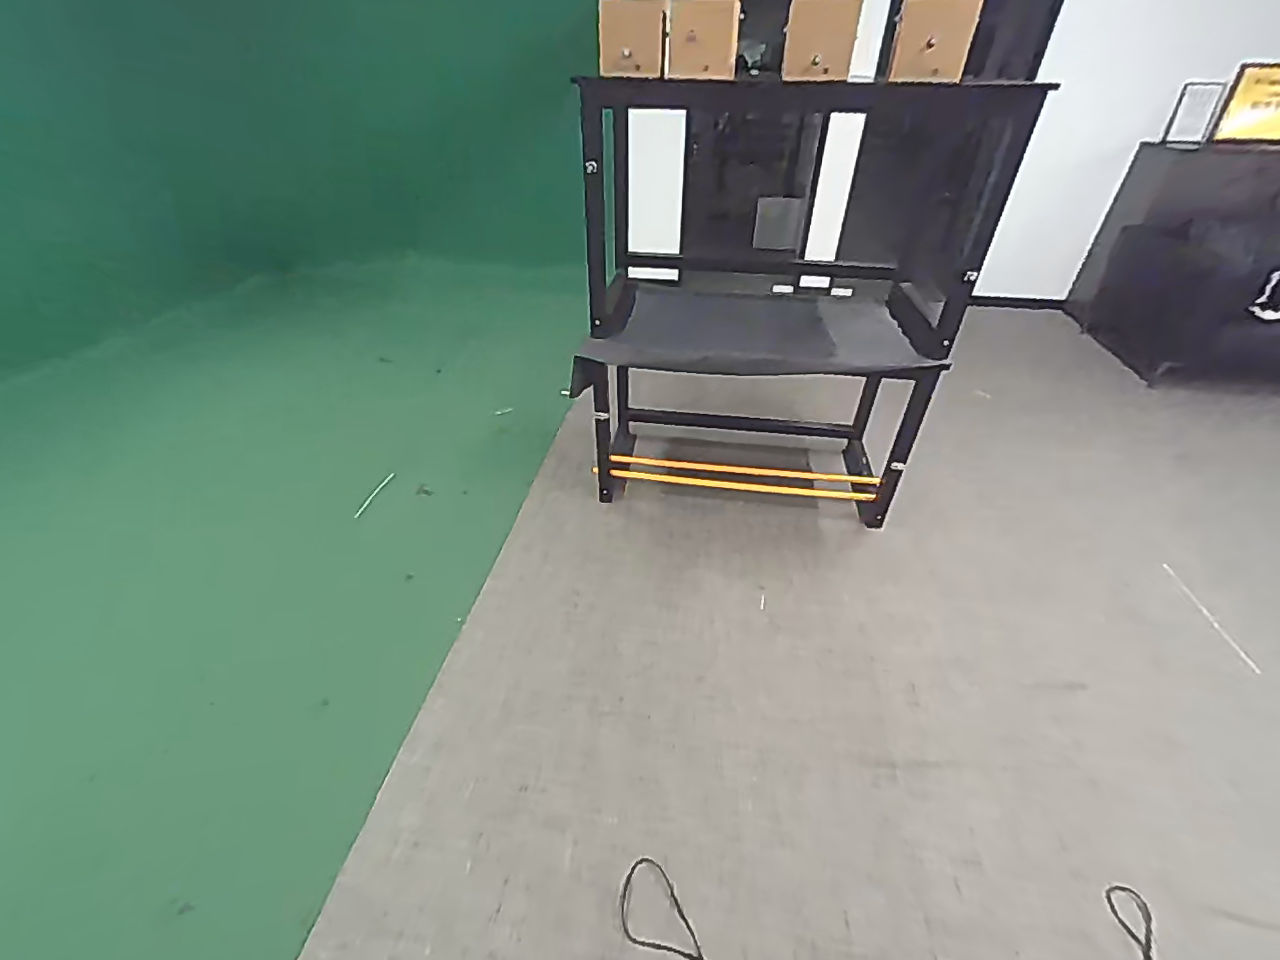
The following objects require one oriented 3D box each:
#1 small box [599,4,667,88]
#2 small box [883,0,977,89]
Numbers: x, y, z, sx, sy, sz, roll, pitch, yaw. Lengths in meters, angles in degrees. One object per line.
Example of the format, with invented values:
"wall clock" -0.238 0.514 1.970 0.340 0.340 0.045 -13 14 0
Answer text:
"small box" -0.018 -1.196 1.494 0.168 0.176 0.179 4 38 5
"small box" 0.734 -1.112 1.388 0.168 0.176 0.179 11 38 13
